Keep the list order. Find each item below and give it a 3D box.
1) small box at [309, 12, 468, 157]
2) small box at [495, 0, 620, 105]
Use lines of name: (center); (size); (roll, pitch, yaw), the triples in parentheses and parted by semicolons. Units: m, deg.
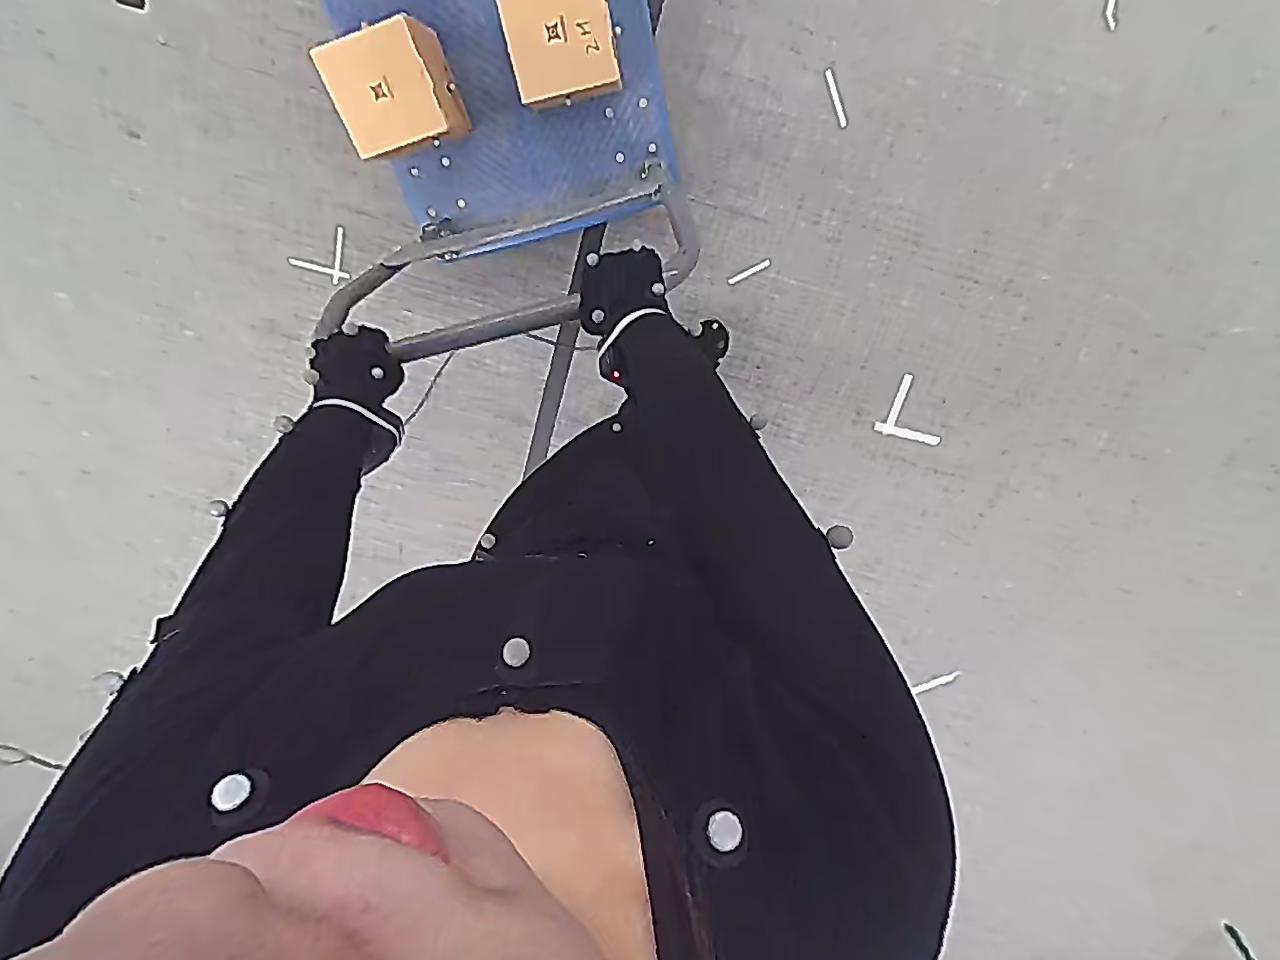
small box: (-0.442, -0.703, 0.983); (0.179, 0.176, 0.168); (-16, 121, 7)
small box: (-0.135, -0.774, 0.945); (0.179, 0.176, 0.168); (-10, 122, 5)
